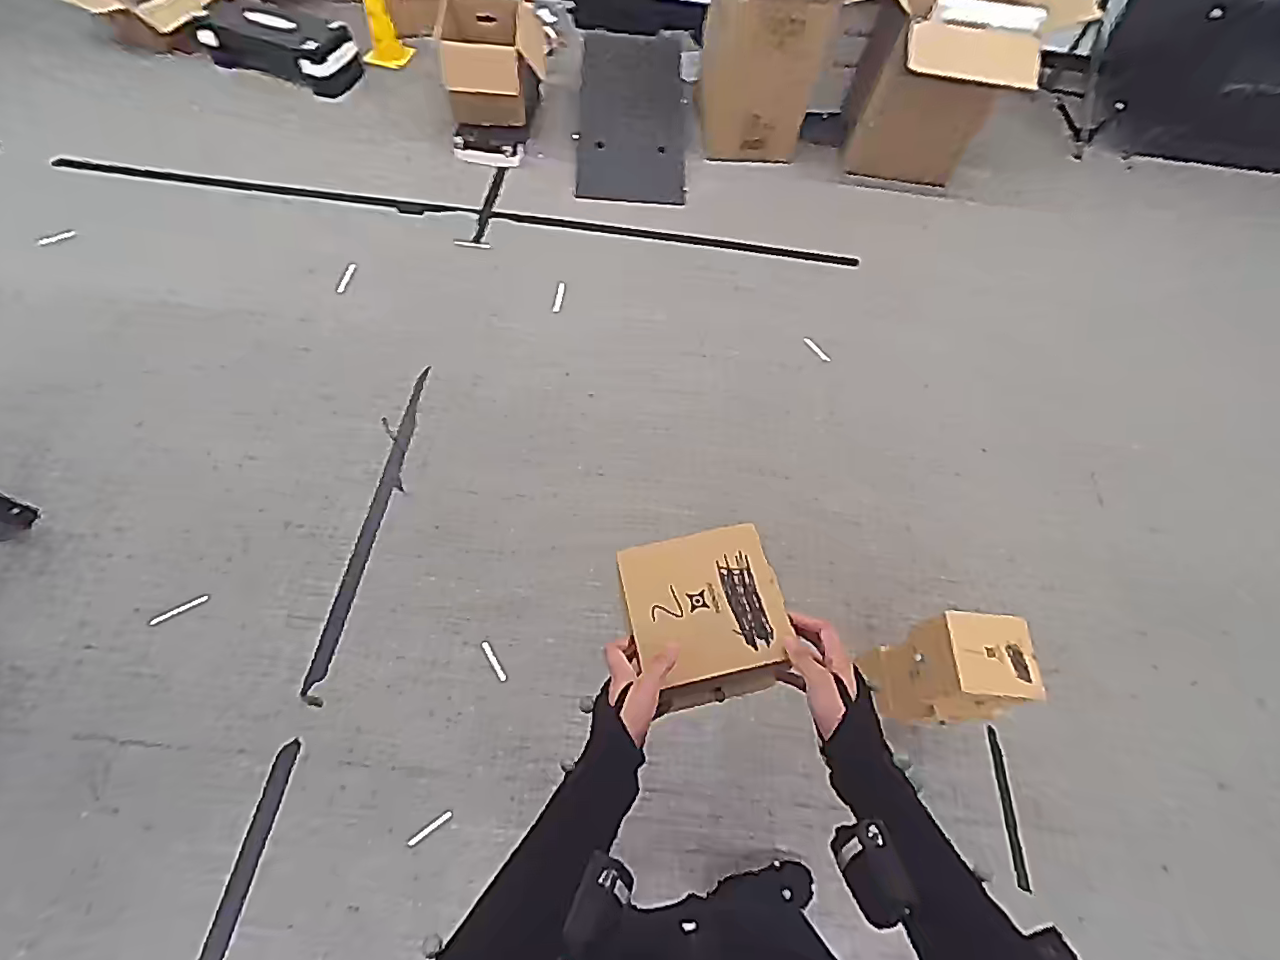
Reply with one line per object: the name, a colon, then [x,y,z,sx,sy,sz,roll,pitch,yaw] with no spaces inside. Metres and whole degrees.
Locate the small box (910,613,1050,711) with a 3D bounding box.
small box: [0.715,0.393,1.157,0.179,0.176,0.168,5,61,-1]

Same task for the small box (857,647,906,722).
small box: [0.710,0.550,1.446,0.179,0.176,0.168,3,62,-3]

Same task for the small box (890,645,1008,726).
small box: [0.725,0.486,1.295,0.168,0.176,0.179,2,62,-4]
